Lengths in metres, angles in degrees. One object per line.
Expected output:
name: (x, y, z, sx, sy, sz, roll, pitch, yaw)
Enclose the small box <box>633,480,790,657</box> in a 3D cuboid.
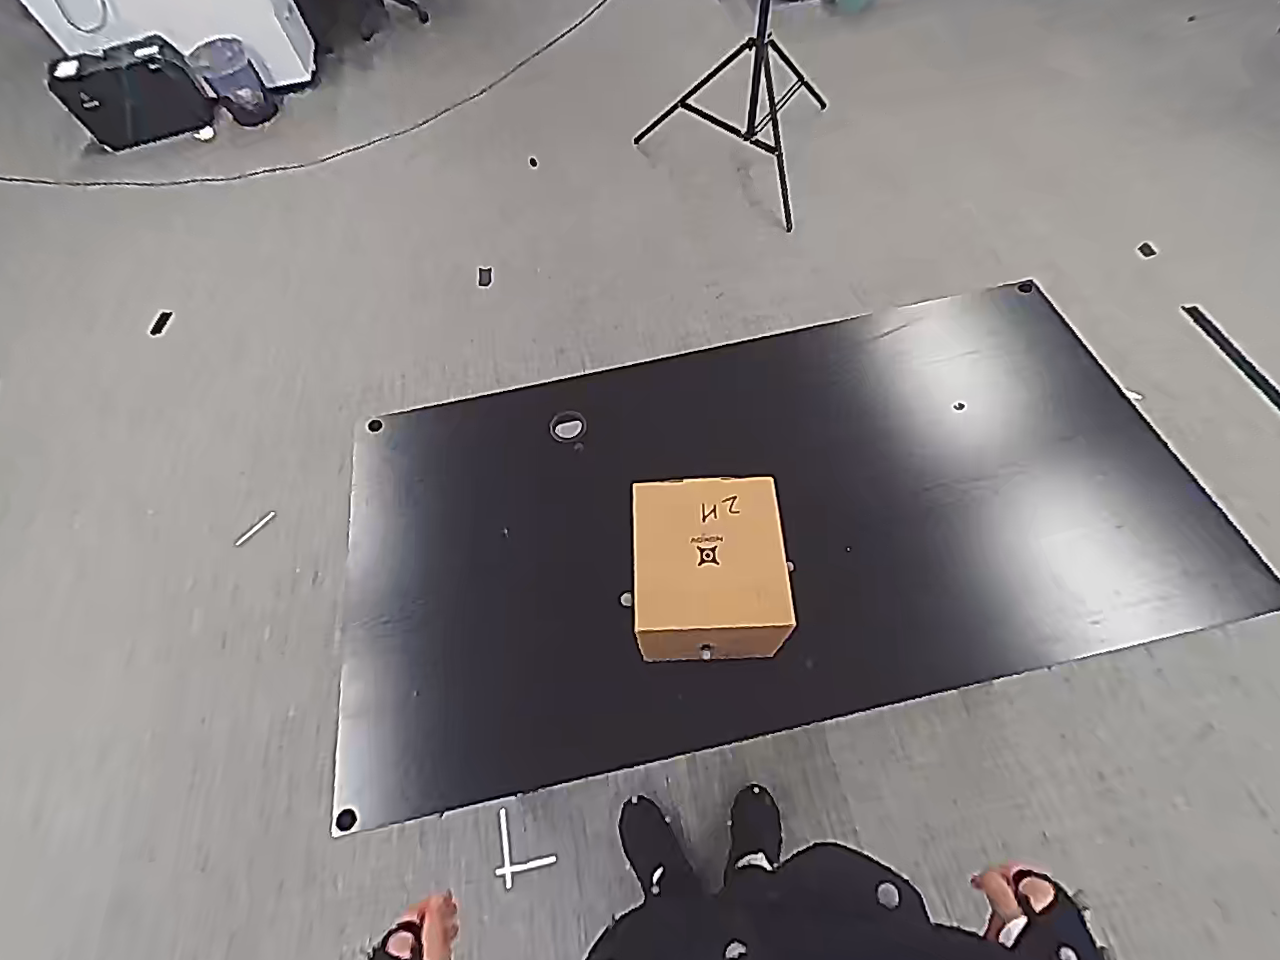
small box: (0.080, 0.117, 0.667, 0.168, 0.176, 0.179, -2, 61, 3)
